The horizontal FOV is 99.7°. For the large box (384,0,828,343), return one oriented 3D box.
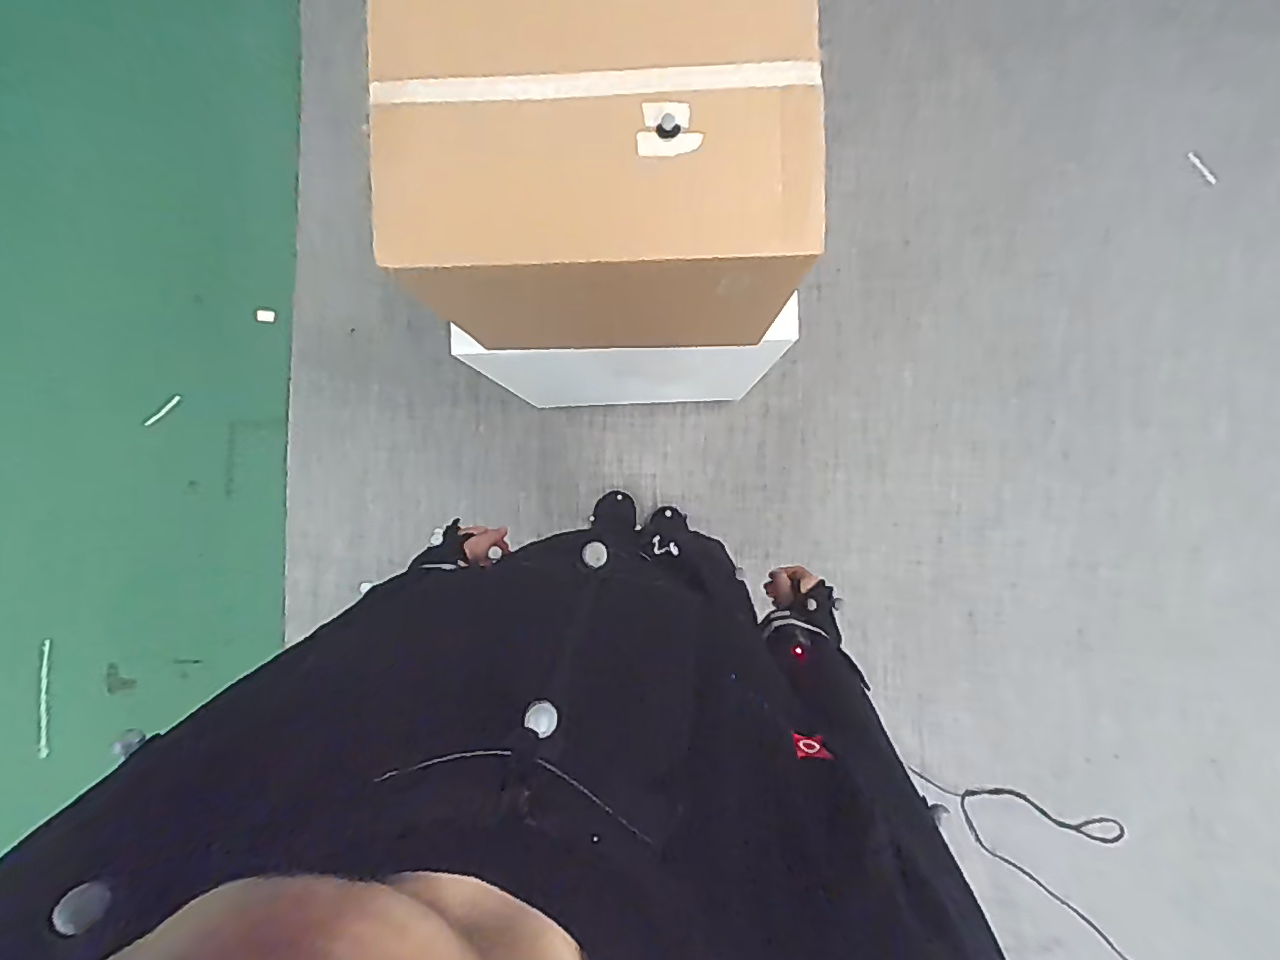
[{"bbox_3d":[-0.033,-0.358,0.638,0.408,0.320,0.320,-1,90,1],"label":"large box"}]
